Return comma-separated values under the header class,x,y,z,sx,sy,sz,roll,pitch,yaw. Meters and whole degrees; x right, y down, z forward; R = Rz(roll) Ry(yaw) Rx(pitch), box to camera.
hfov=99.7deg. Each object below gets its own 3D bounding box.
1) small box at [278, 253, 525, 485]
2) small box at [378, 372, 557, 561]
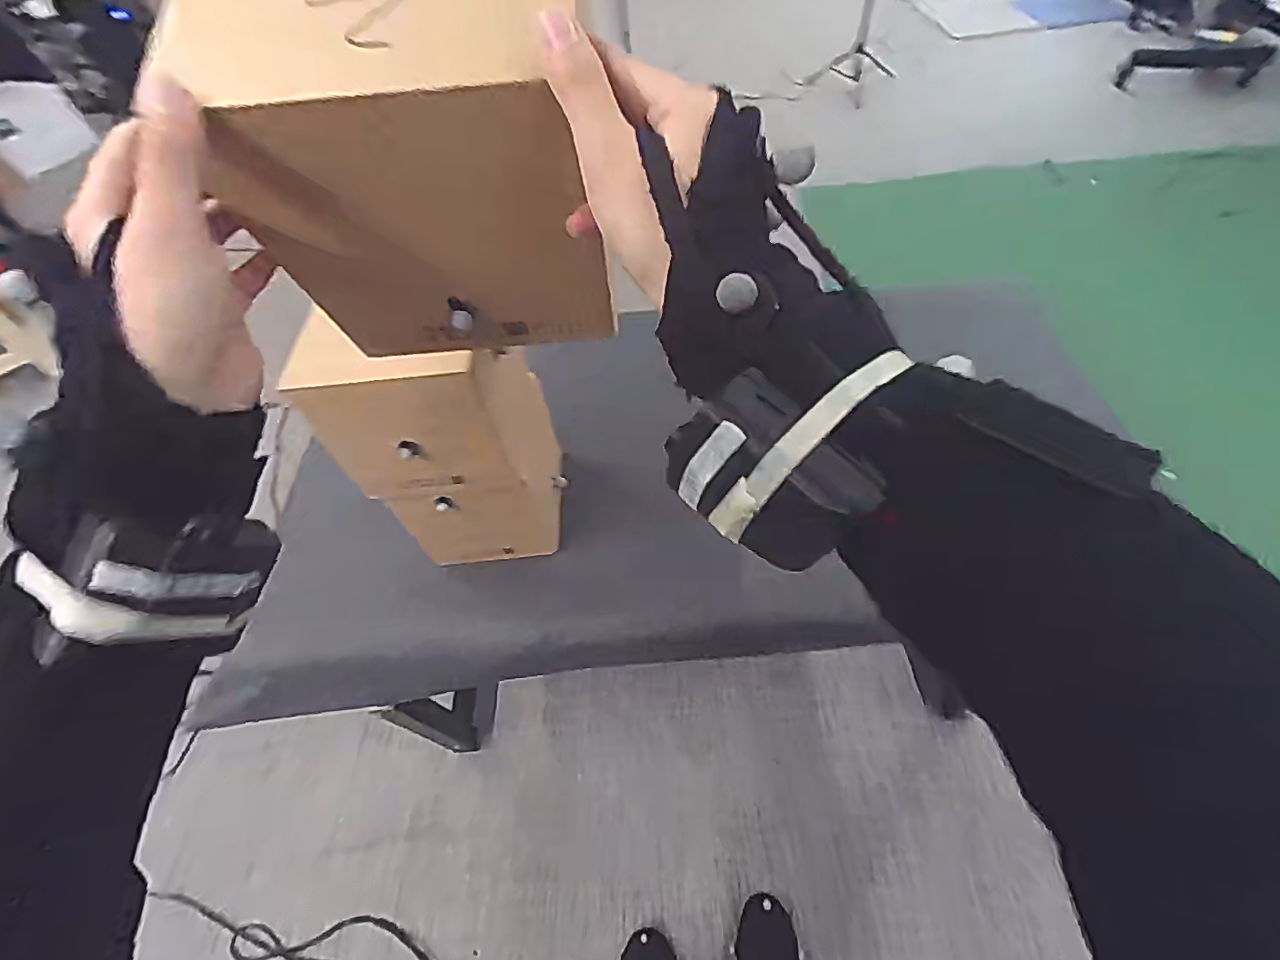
class,x,y,z,sx,sy,sz,roll,pitch,yaw
small box,-0.223,-0.106,0.563,0.168,0.176,0.179,-4,54,1
small box,-0.205,-0.015,0.701,0.168,0.176,0.179,-6,53,1
